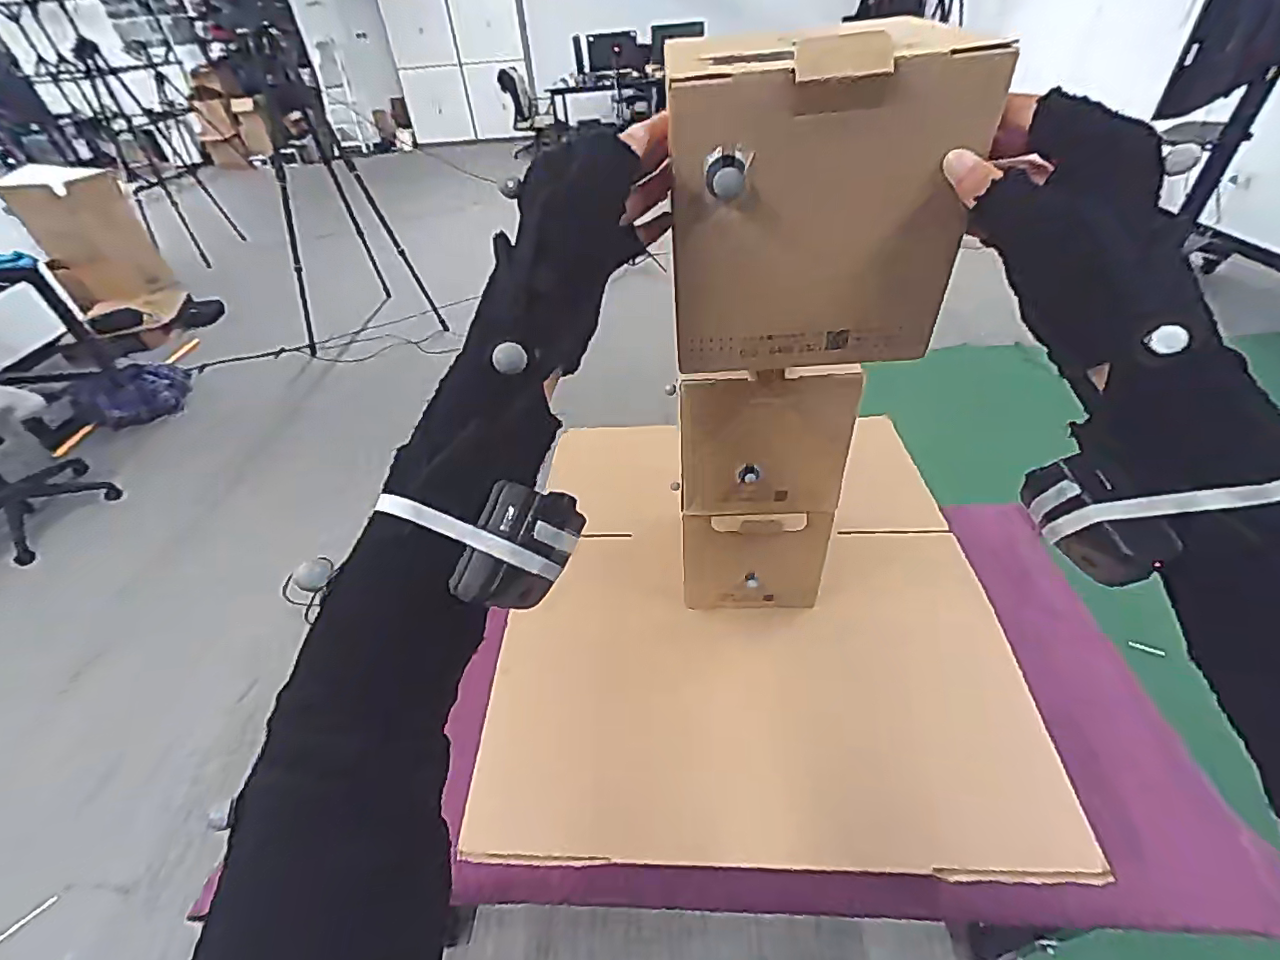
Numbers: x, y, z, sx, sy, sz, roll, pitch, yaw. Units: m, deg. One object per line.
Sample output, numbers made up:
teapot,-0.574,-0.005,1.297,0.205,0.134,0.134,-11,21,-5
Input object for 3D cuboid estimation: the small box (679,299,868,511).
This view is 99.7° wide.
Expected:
small box,0.127,-0.085,0.596,0.168,0.176,0.179,-1,40,3

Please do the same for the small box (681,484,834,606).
small box,0.137,0.040,0.701,0.168,0.176,0.179,-1,40,5
